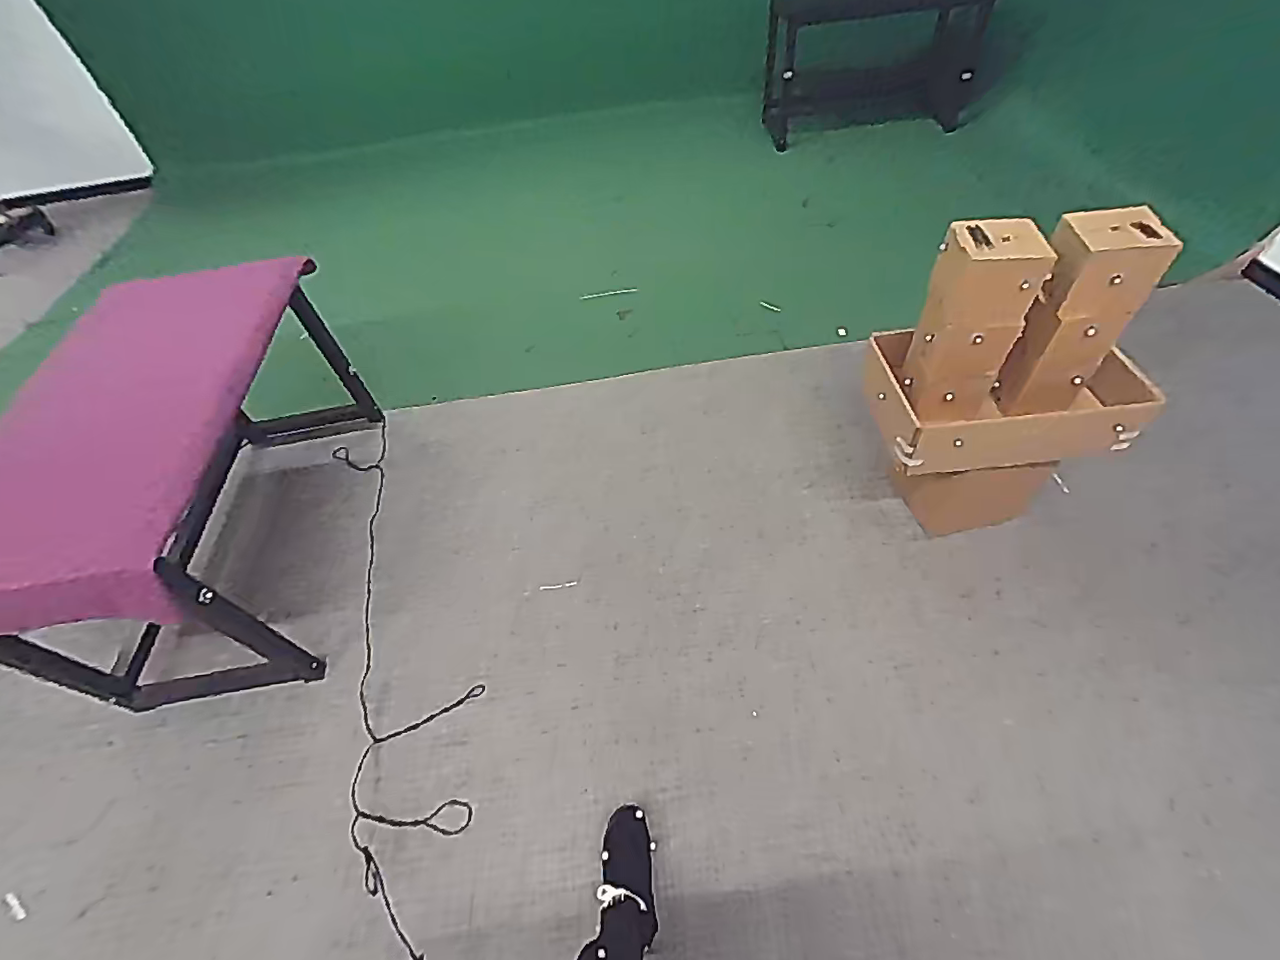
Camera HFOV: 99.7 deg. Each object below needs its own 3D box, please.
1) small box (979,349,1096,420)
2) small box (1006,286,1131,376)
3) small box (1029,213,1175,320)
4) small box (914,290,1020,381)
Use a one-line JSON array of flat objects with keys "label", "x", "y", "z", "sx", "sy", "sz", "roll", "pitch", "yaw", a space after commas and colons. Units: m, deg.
[{"label": "small box", "x": 1.098, "y": -0.288, "z": 1.511, "sx": 0.179, "sy": 0.176, "sz": 0.168, "roll": -7, "pitch": 50, "yaw": 2}, {"label": "small box", "x": 1.077, "y": -0.389, "z": 1.387, "sx": 0.179, "sy": 0.176, "sz": 0.168, "roll": -9, "pitch": 51, "yaw": 3}, {"label": "small box", "x": 1.062, "y": -0.494, "z": 1.262, "sx": 0.179, "sy": 0.176, "sz": 0.168, "roll": -2, "pitch": 51, "yaw": 9}, {"label": "small box", "x": 0.829, "y": -0.371, "z": 1.398, "sx": 0.179, "sy": 0.176, "sz": 0.168, "roll": 2, "pitch": 52, "yaw": 7}]
